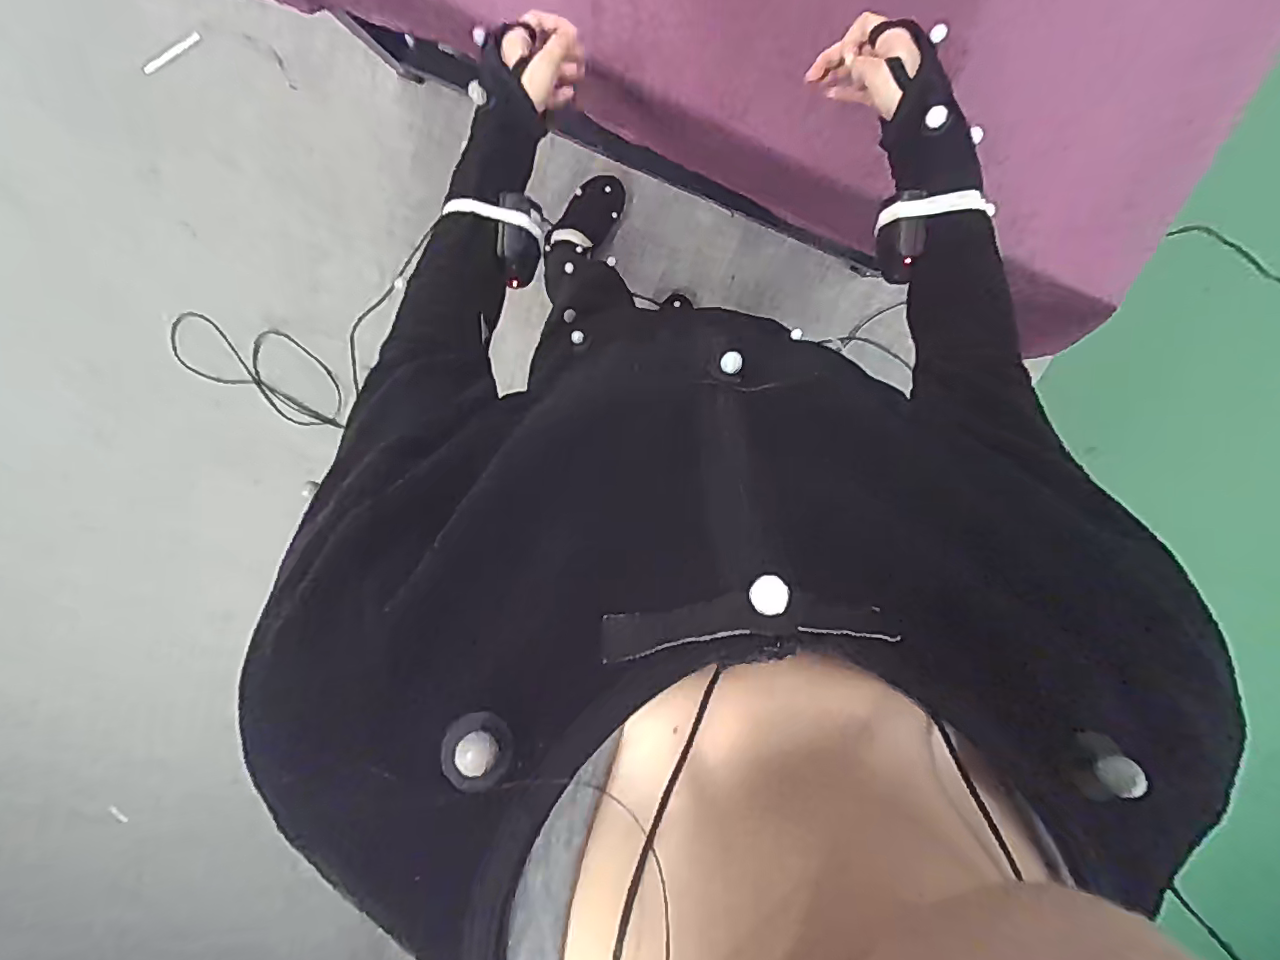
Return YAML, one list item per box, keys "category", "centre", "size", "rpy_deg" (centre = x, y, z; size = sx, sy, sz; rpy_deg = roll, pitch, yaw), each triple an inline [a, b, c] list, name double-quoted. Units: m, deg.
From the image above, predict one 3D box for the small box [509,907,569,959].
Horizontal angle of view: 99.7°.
- category: "small box"
  centre: [-0.345, 1.609, 1.839]
  size: [0.168, 0.176, 0.179]
  rpy_deg: [21, 108, -11]
